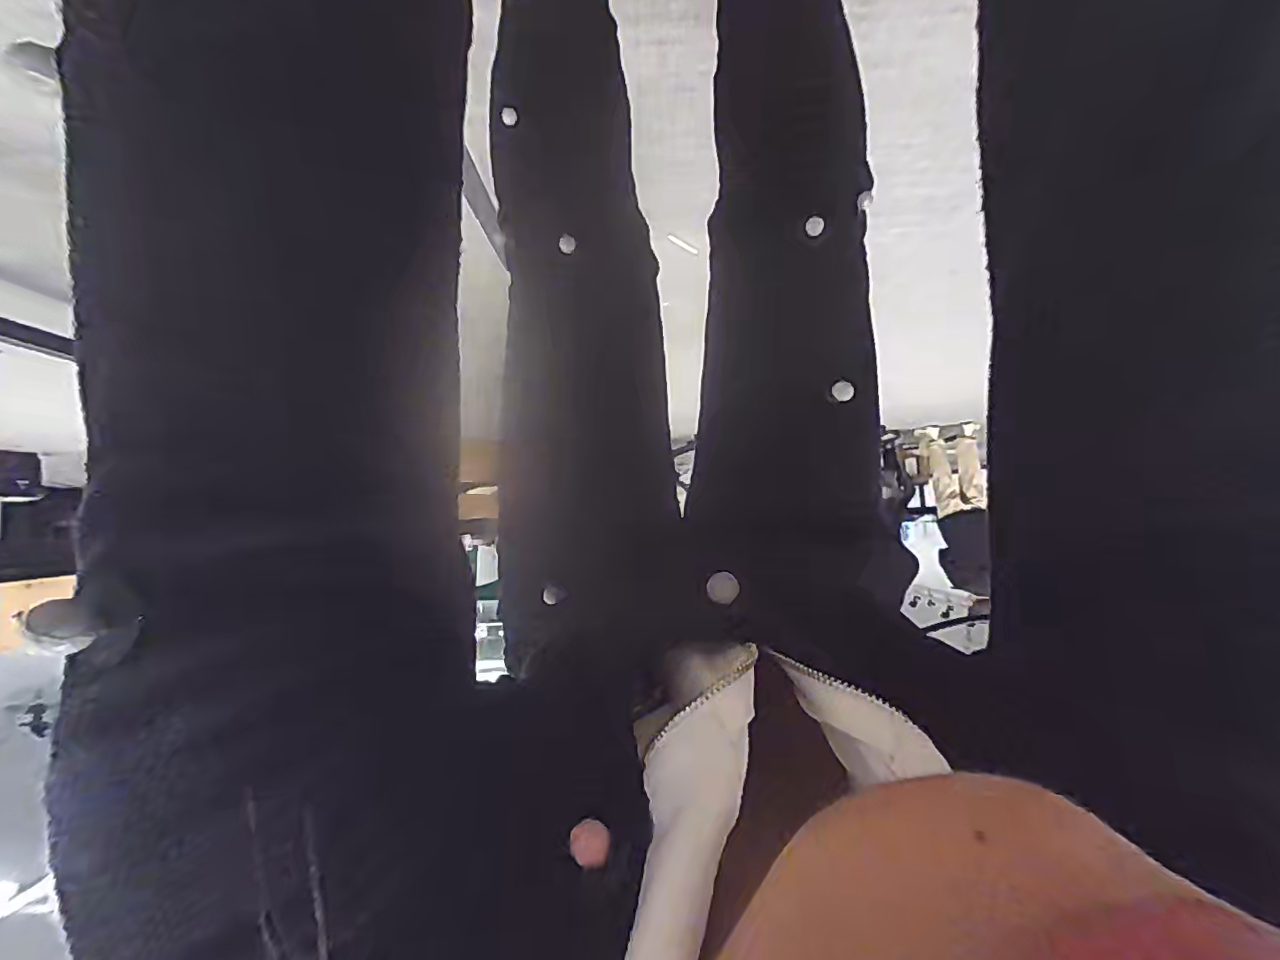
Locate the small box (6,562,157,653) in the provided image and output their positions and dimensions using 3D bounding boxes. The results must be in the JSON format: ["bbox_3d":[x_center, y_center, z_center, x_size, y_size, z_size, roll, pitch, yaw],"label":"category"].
[{"bbox_3d":[-1.232,0.278,1.203,0.168,0.176,0.179,-1,177,1],"label":"small box"}]
